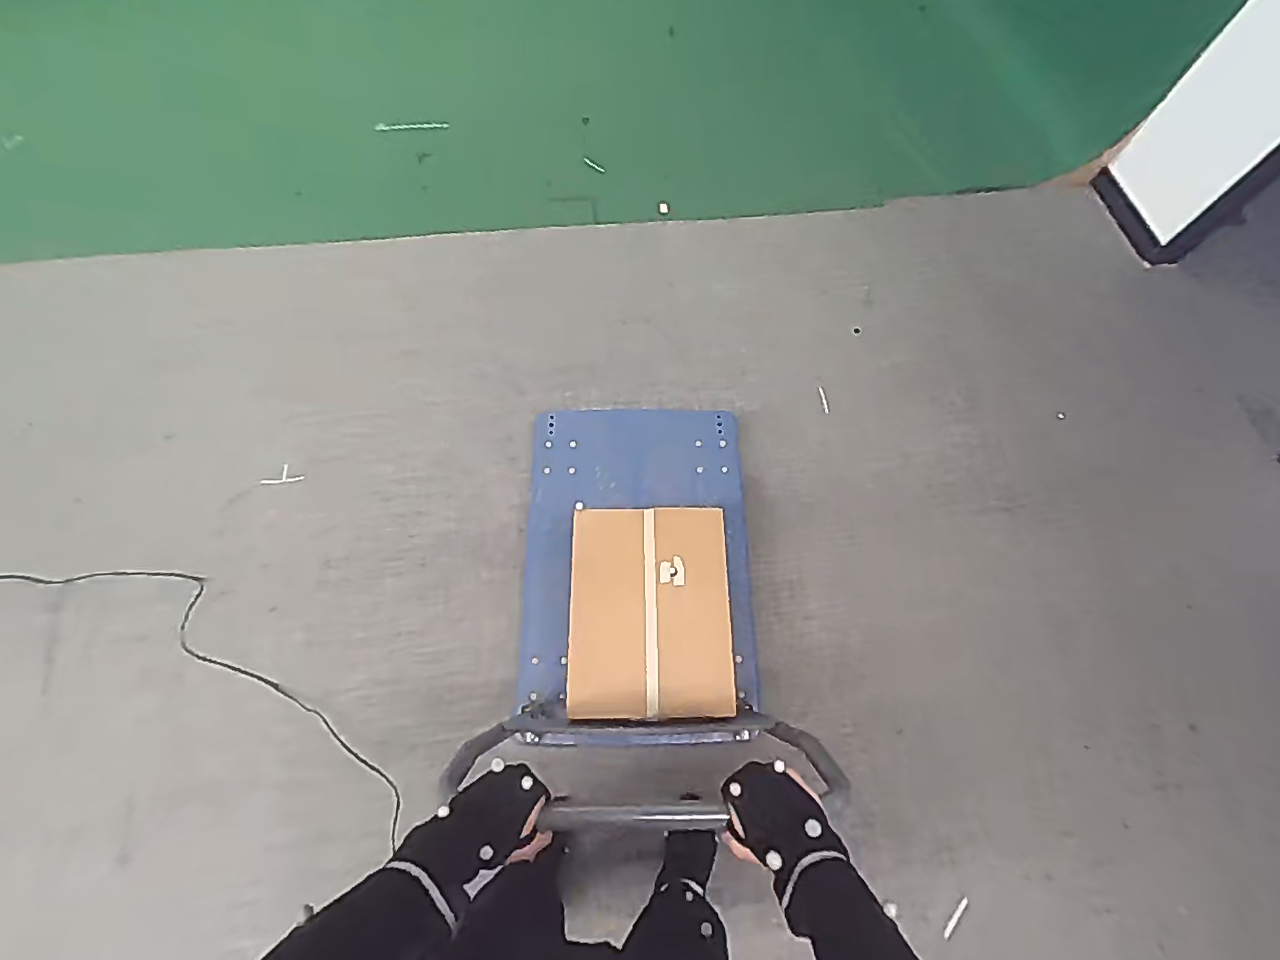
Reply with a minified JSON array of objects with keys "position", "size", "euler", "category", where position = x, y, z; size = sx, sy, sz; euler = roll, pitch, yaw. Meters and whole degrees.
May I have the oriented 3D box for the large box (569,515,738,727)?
[{"position":[0.020,0.320,1.194],"size":[0.320,0.320,0.408],"euler":[0,66,-1],"category":"large box"}]
